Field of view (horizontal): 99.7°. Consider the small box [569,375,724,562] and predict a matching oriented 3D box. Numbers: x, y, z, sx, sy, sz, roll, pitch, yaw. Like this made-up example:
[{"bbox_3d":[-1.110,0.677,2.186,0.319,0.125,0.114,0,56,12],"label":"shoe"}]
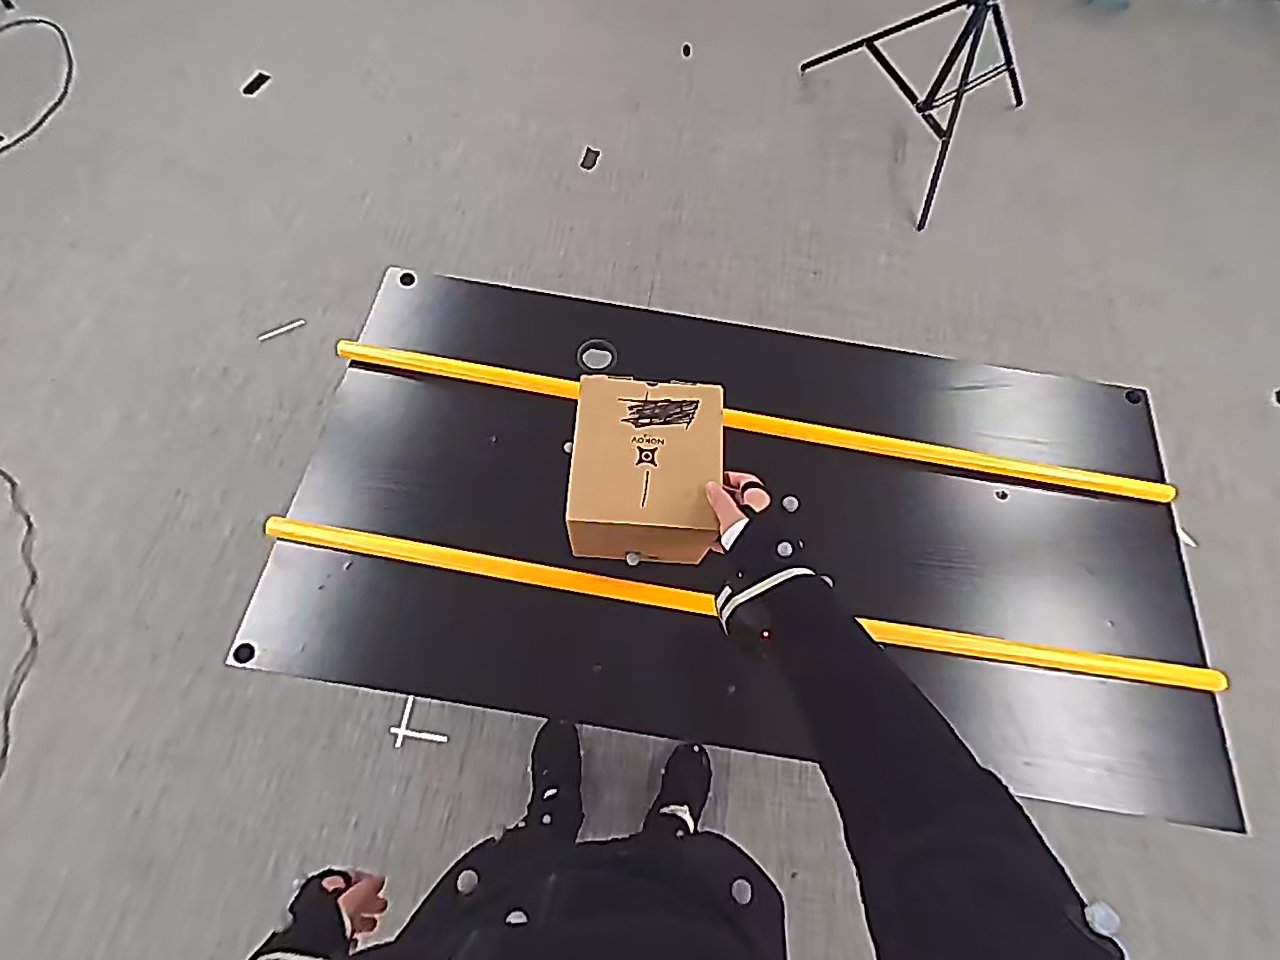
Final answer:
[{"bbox_3d":[0.006,-0.007,0.672,0.168,0.176,0.179,4,69,-2],"label":"small box"}]
